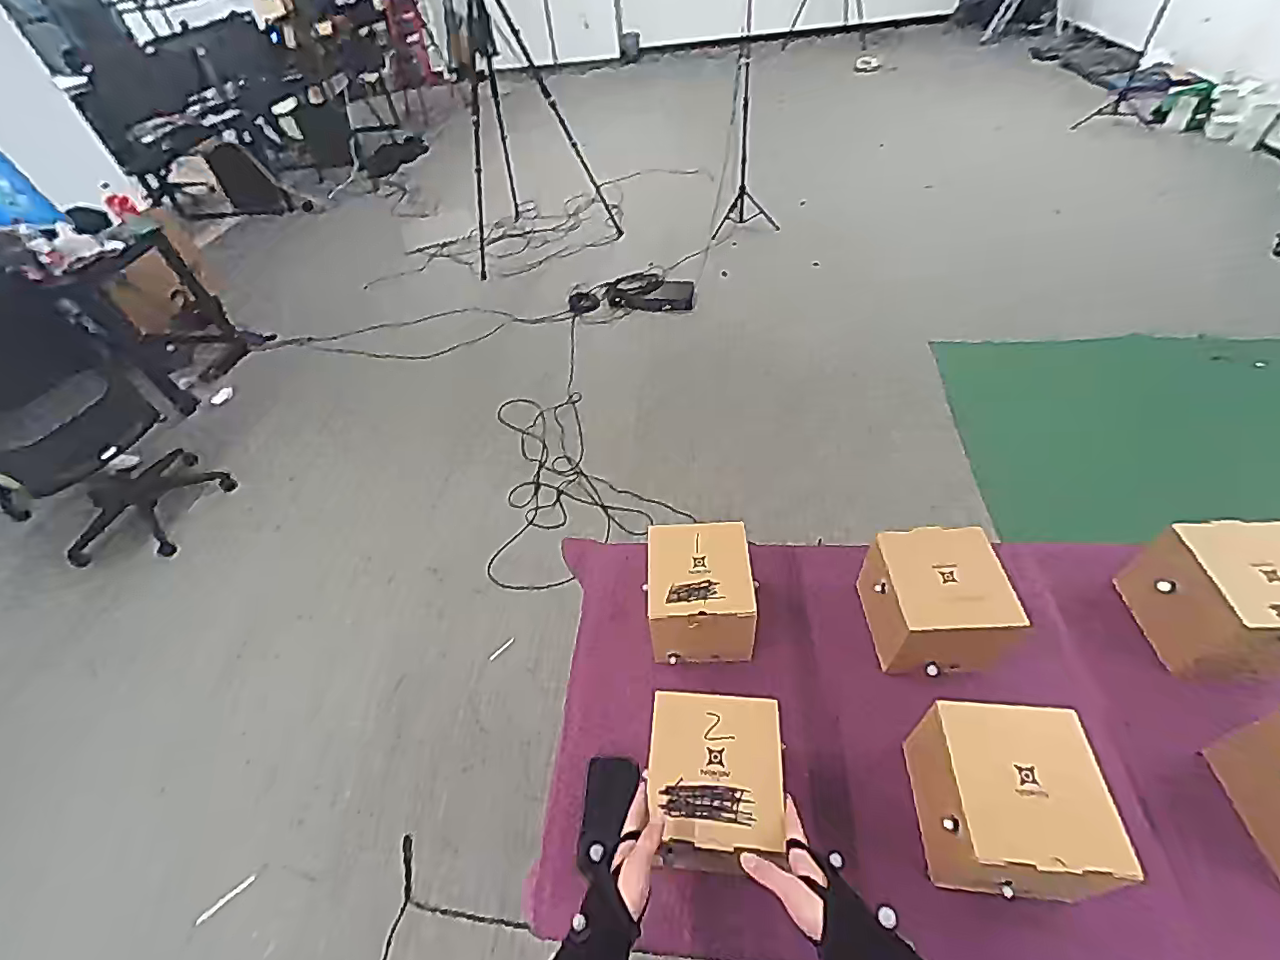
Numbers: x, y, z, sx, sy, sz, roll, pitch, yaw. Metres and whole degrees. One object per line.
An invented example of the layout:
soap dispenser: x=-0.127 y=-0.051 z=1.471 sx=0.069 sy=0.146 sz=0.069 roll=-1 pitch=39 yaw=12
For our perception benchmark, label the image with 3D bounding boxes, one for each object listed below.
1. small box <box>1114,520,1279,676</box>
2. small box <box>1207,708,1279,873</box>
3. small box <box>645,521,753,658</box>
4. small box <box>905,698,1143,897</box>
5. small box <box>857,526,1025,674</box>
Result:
small box: x=0.892 y=0.180 z=0.827 sx=0.168 sy=0.176 sz=0.179 roll=-2 pitch=47 yaw=6
small box: x=0.859 y=0.382 z=0.643 sx=0.168 sy=0.176 sz=0.179 roll=-2 pitch=46 yaw=7
small box: x=0.098 y=0.191 z=0.921 sx=0.168 sy=0.176 sz=0.179 roll=-3 pitch=47 yaw=4
small box: x=0.456 y=0.400 z=0.684 sx=0.168 sy=0.176 sz=0.179 roll=1 pitch=47 yaw=8
small box: x=0.466 y=0.194 z=0.873 sx=0.168 sy=0.176 sz=0.179 roll=-4 pitch=48 yaw=5
